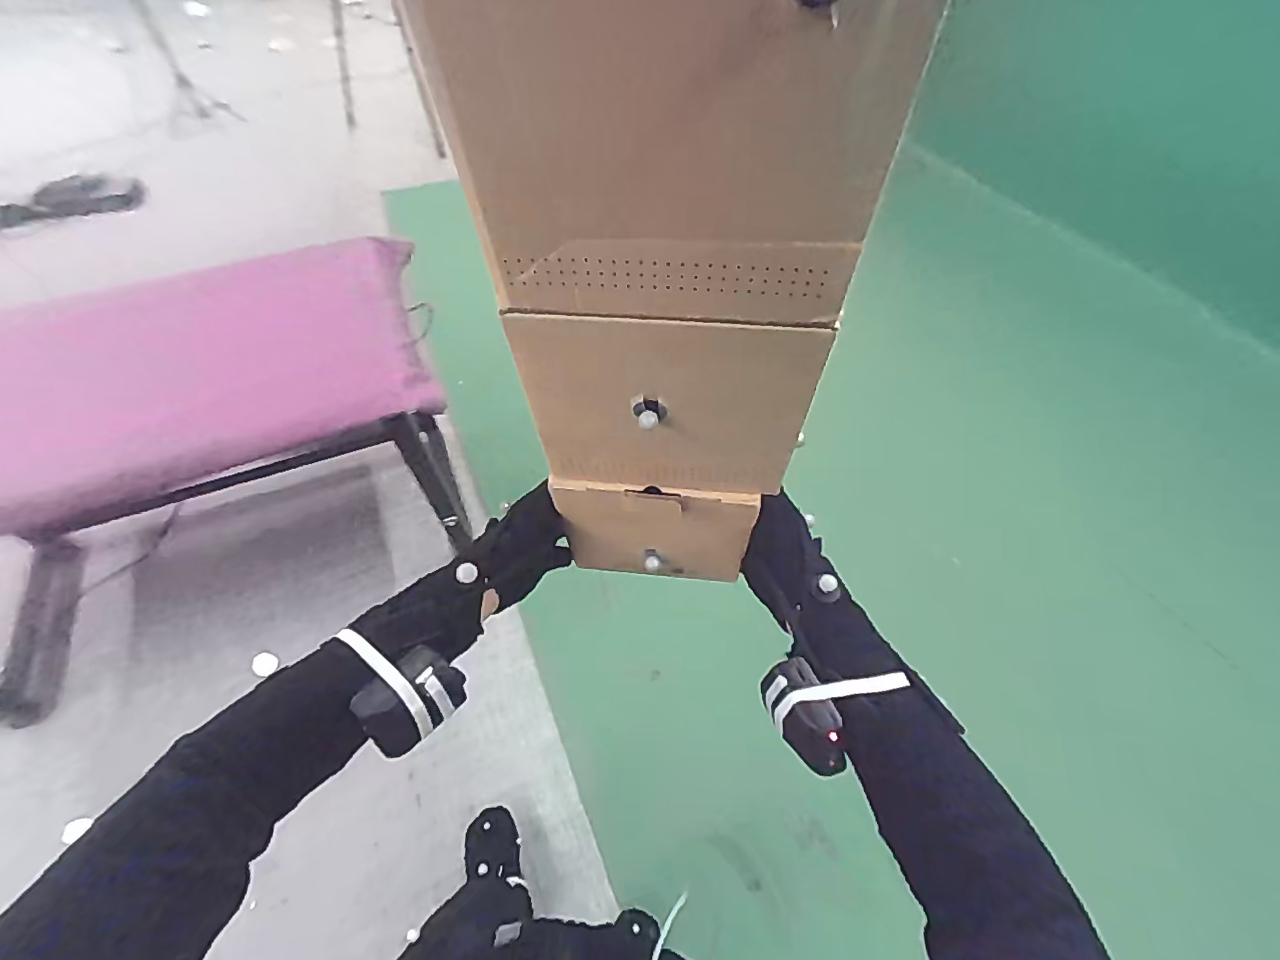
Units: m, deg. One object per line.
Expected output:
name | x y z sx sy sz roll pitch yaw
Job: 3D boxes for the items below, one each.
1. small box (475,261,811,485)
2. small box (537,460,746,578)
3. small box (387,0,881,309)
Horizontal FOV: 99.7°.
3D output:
small box | 0.012 -0.112 0.384 0.179 0.176 0.168 6 57 6
small box | 0.012 -0.023 0.525 0.168 0.176 0.179 4 59 6
small box | 0.002 -0.197 0.248 0.179 0.176 0.168 4 58 4
